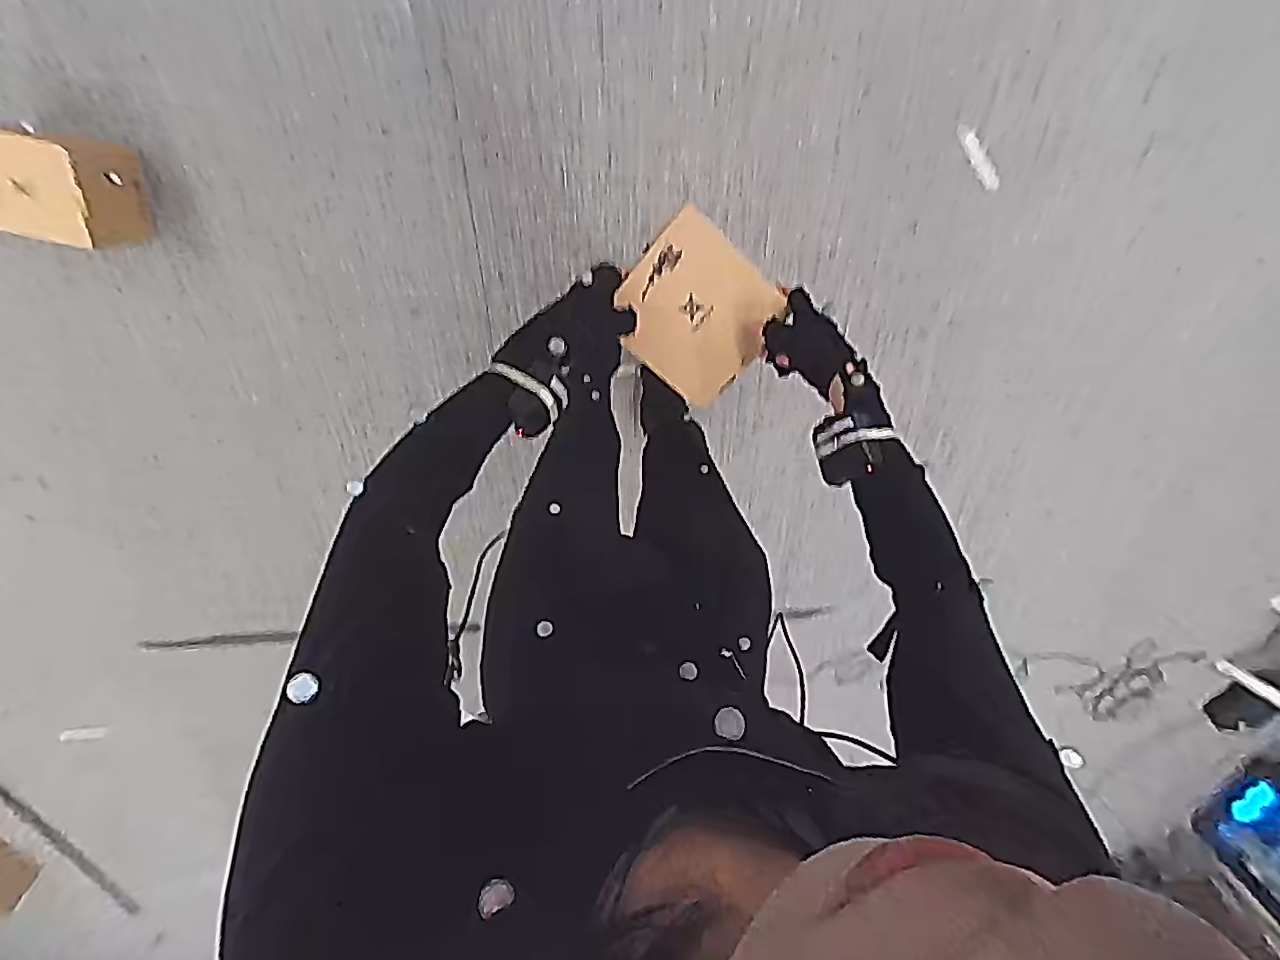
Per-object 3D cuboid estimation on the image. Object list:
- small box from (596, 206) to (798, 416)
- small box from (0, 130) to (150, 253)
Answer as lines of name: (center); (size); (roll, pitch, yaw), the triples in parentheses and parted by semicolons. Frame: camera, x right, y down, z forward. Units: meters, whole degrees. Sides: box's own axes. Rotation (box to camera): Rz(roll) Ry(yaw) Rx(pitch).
small box: (0.062, -0.213, 0.690); (0.179, 0.176, 0.168); (37, 102, -15)
small box: (-1.057, -0.533, 0.997); (0.179, 0.176, 0.168); (9, 118, -9)
